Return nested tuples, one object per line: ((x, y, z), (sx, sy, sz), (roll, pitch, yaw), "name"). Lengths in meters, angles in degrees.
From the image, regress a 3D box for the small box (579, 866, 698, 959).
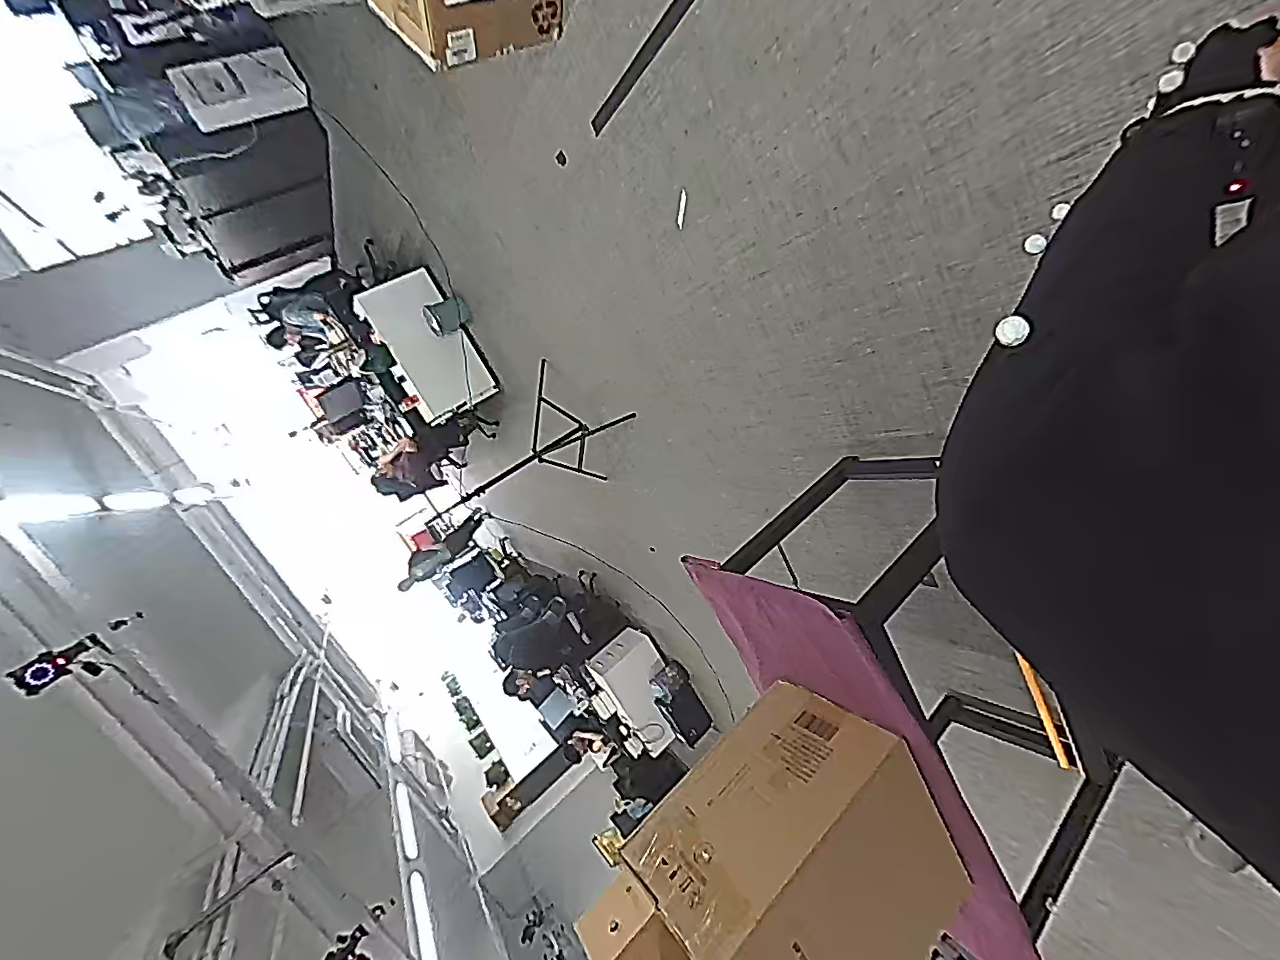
((-0.003, 1.039, 1.230), (0.179, 0.176, 0.168), (57, 156, -12), "small box")
